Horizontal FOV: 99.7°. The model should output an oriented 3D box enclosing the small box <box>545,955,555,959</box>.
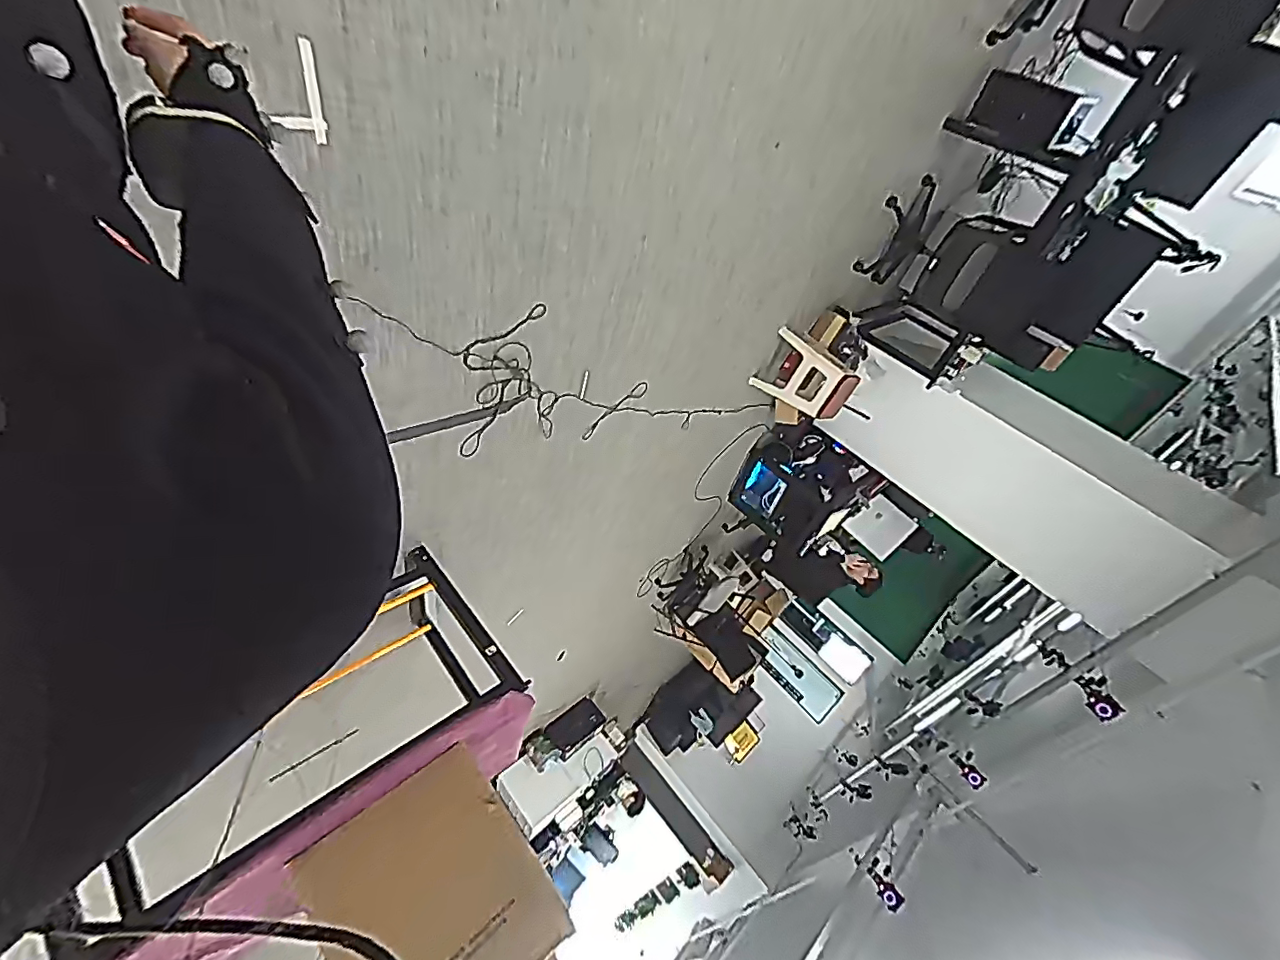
[{"bbox_3d":[-0.280,1.516,1.549,0.168,0.176,0.179,-26,148,-37],"label":"small box"}]
